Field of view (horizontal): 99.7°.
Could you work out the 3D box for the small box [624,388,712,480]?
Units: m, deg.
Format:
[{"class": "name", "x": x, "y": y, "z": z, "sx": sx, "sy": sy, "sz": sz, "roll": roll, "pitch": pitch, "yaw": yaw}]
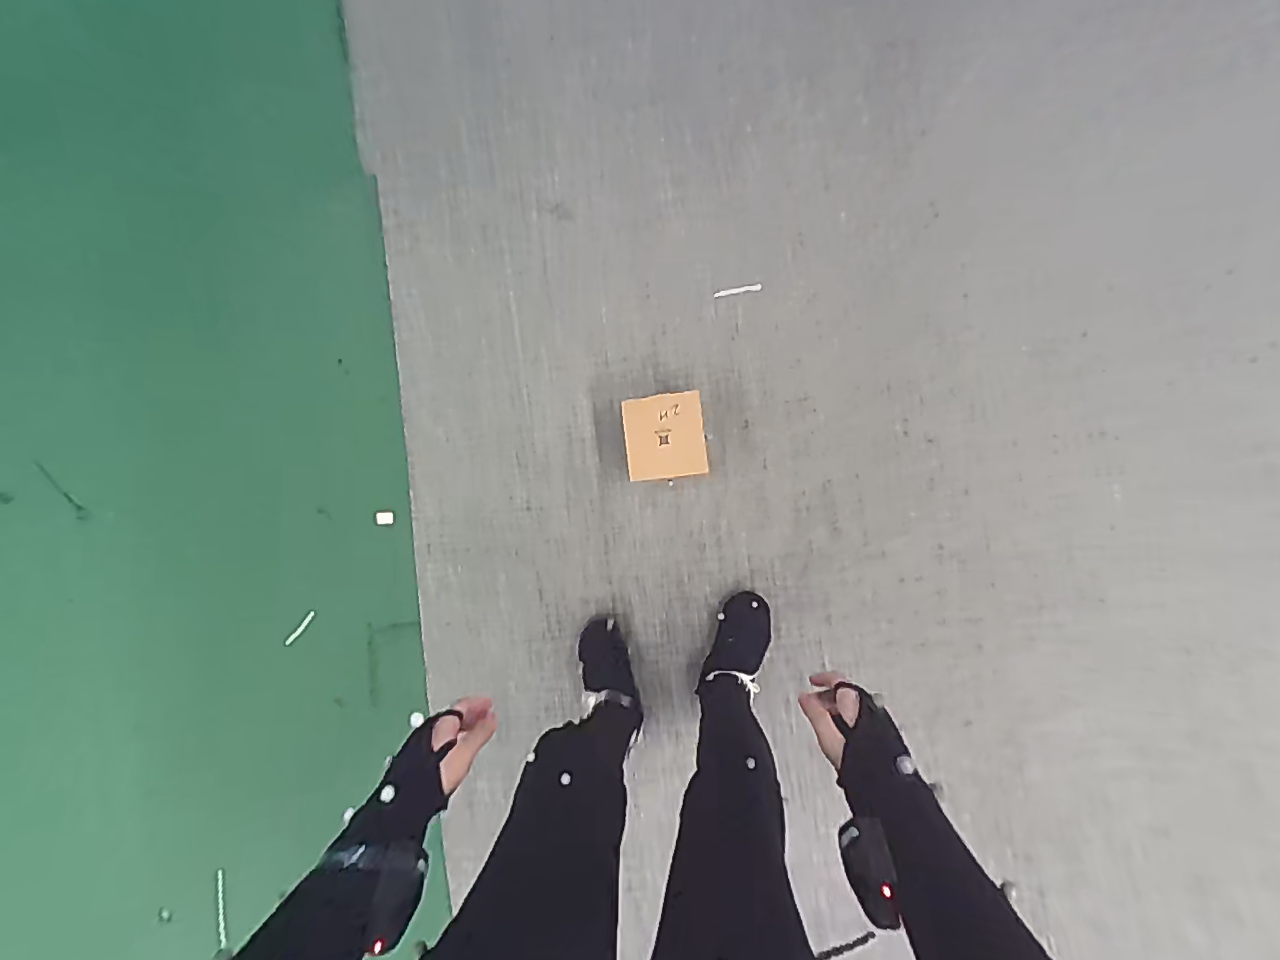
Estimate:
[{"class": "small box", "x": 0.067, "y": -0.094, "z": 1.198, "sx": 0.168, "sy": 0.176, "sz": 0.179, "roll": -7, "pitch": 87, "yaw": 9}]
